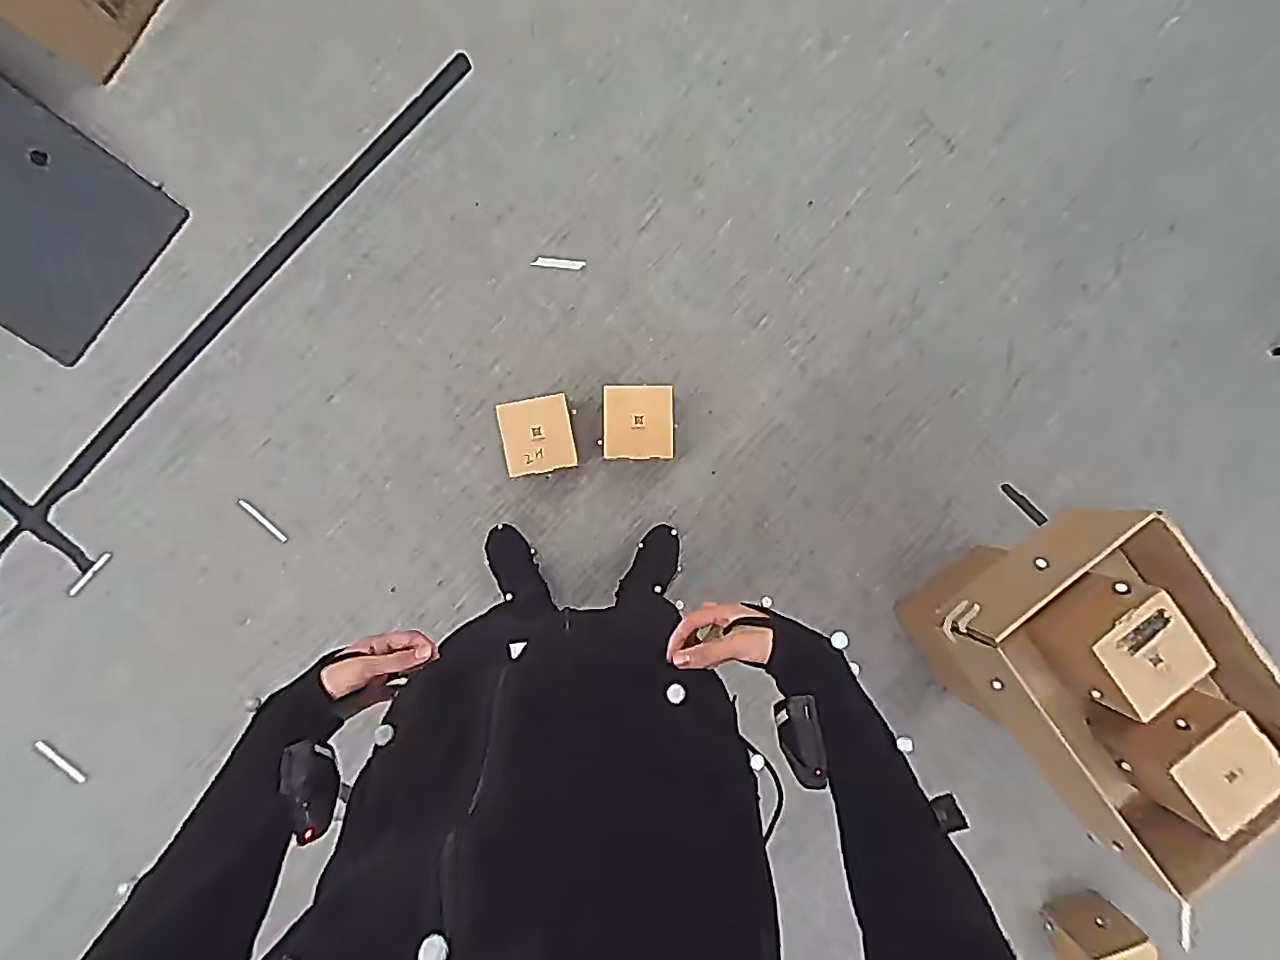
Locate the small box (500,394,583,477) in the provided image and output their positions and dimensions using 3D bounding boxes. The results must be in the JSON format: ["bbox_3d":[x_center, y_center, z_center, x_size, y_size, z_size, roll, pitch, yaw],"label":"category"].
[{"bbox_3d":[-0.240,-0.107,1.349,0.168,0.176,0.179,-11,93,-2],"label":"small box"}]

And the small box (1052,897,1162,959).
[{"bbox_3d":[1.262,1.287,1.464,0.179,0.176,0.168,-16,92,-3],"label":"small box"}]

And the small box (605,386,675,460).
[{"bbox_3d":[-0.004,-0.139,1.364,0.168,0.176,0.179,-1,93,-3],"label":"small box"}]

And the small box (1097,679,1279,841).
[{"bbox_3d":[1.026,0.507,1.010,0.179,0.176,0.168,-38,92,-5],"label":"small box"}]
